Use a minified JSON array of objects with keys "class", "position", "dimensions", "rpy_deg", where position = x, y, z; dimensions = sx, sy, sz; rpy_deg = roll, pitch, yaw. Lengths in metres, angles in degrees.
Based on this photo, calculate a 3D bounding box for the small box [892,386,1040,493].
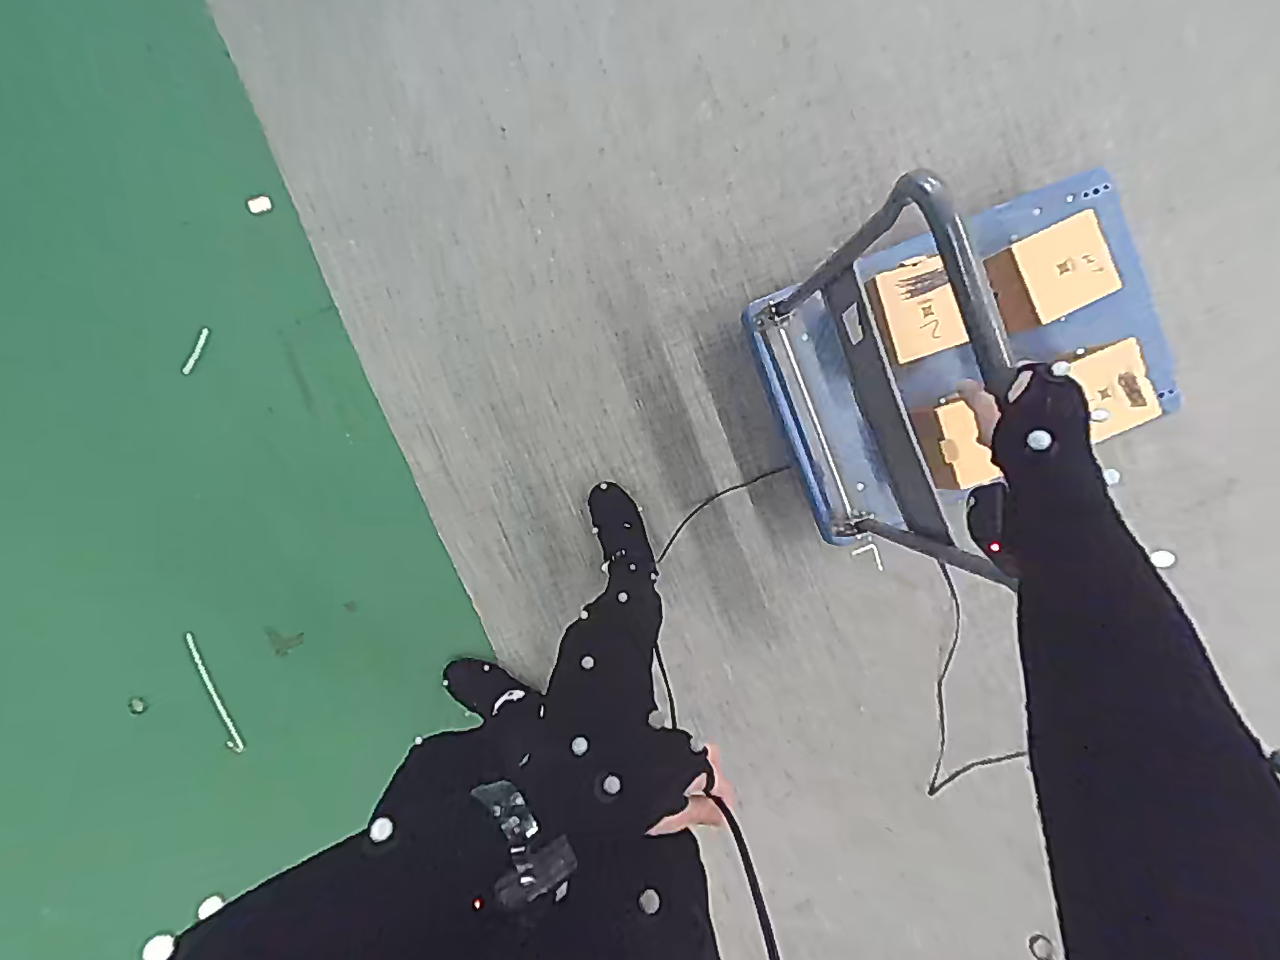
[{"class":"small box","position":[0.659,-0.083,1.110],"dimensions":[0.179,0.176,0.168],"rpy_deg":[-19,94,-1]}]

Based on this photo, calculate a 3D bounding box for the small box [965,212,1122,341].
[{"class":"small box","position":[0.802,-0.401,1.099],"dimensions":[0.179,0.176,0.168],"rpy_deg":[-25,95,-1]}]

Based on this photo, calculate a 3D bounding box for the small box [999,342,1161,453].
[{"class":"small box","position":[0.894,-0.164,1.116],"dimensions":[0.179,0.176,0.168],"rpy_deg":[-23,93,-1]}]
